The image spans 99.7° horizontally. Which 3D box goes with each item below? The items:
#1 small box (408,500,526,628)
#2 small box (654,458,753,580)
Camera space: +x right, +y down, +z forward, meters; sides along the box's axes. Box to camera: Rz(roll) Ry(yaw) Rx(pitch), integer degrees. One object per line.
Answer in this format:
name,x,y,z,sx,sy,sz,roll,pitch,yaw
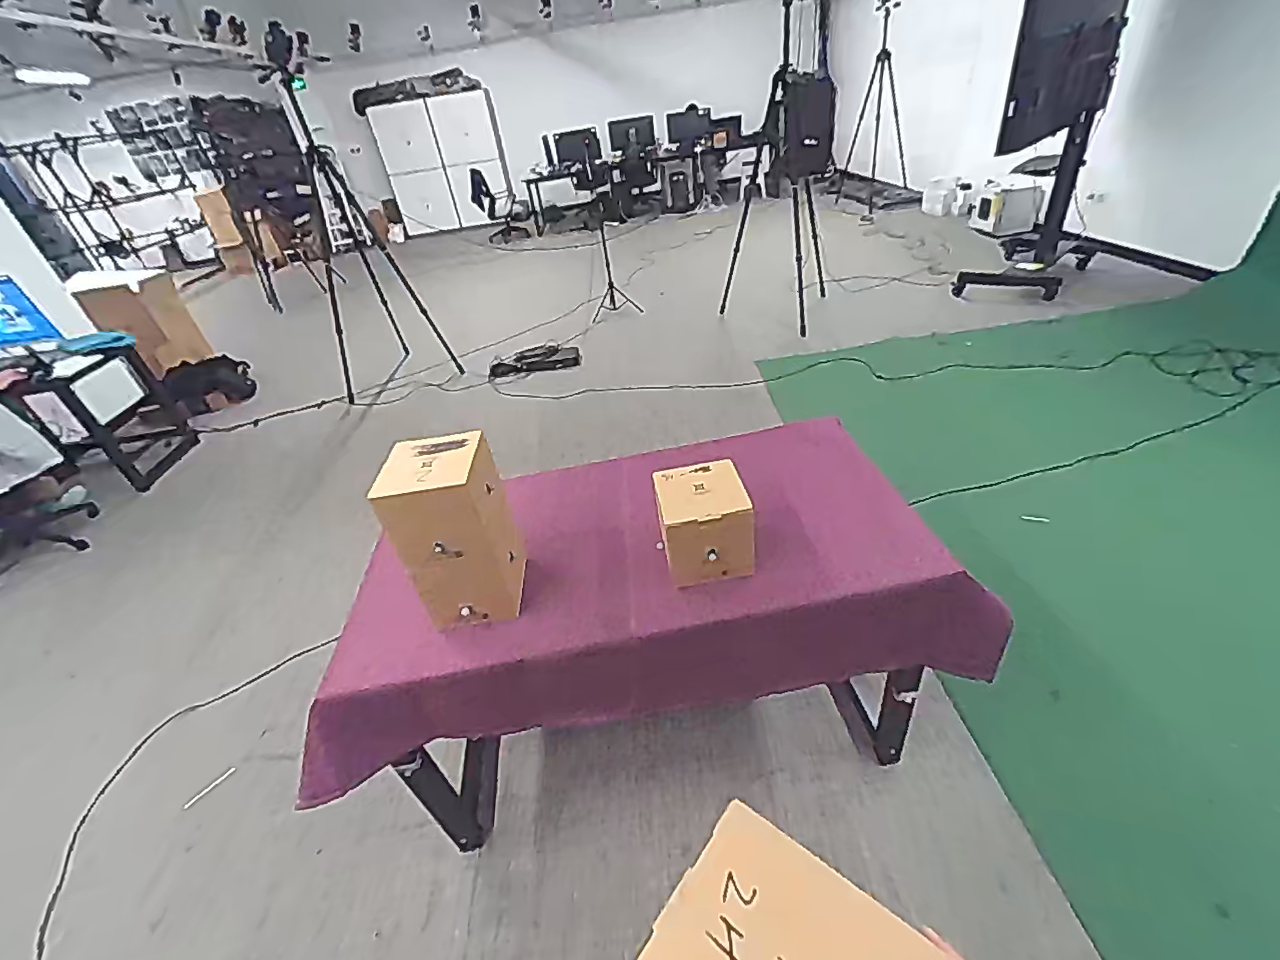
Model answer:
small box,-0.332,0.166,1.078,0.168,0.176,0.179,-9,36,1
small box,0.127,0.083,1.085,0.168,0.176,0.179,-10,36,-1
